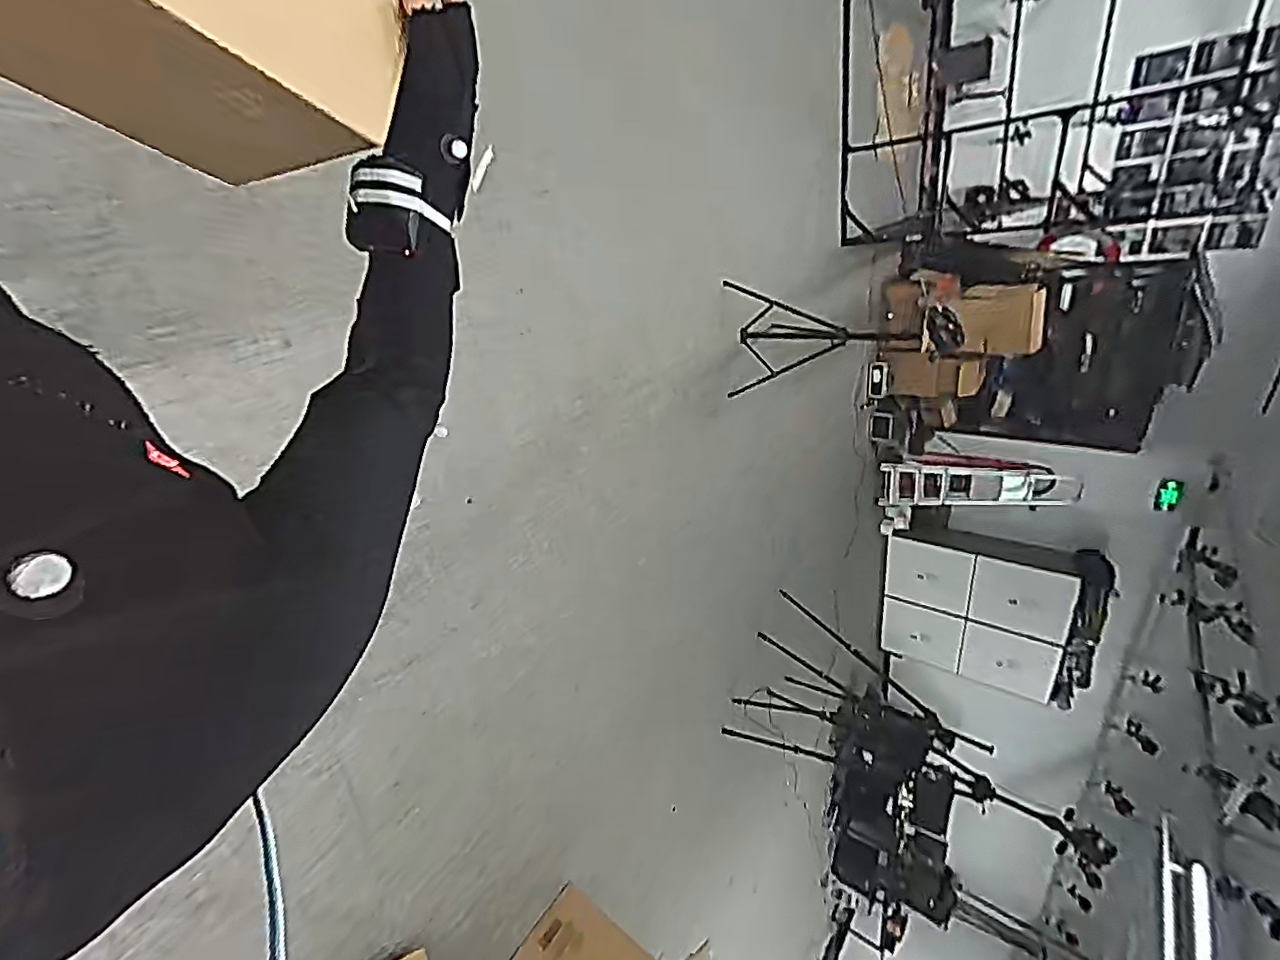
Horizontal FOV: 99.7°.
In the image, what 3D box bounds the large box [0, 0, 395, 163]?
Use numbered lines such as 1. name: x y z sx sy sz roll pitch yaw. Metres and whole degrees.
1. large box: -0.408 -0.472 0.334 0.408 0.320 0.320 9 96 -56
